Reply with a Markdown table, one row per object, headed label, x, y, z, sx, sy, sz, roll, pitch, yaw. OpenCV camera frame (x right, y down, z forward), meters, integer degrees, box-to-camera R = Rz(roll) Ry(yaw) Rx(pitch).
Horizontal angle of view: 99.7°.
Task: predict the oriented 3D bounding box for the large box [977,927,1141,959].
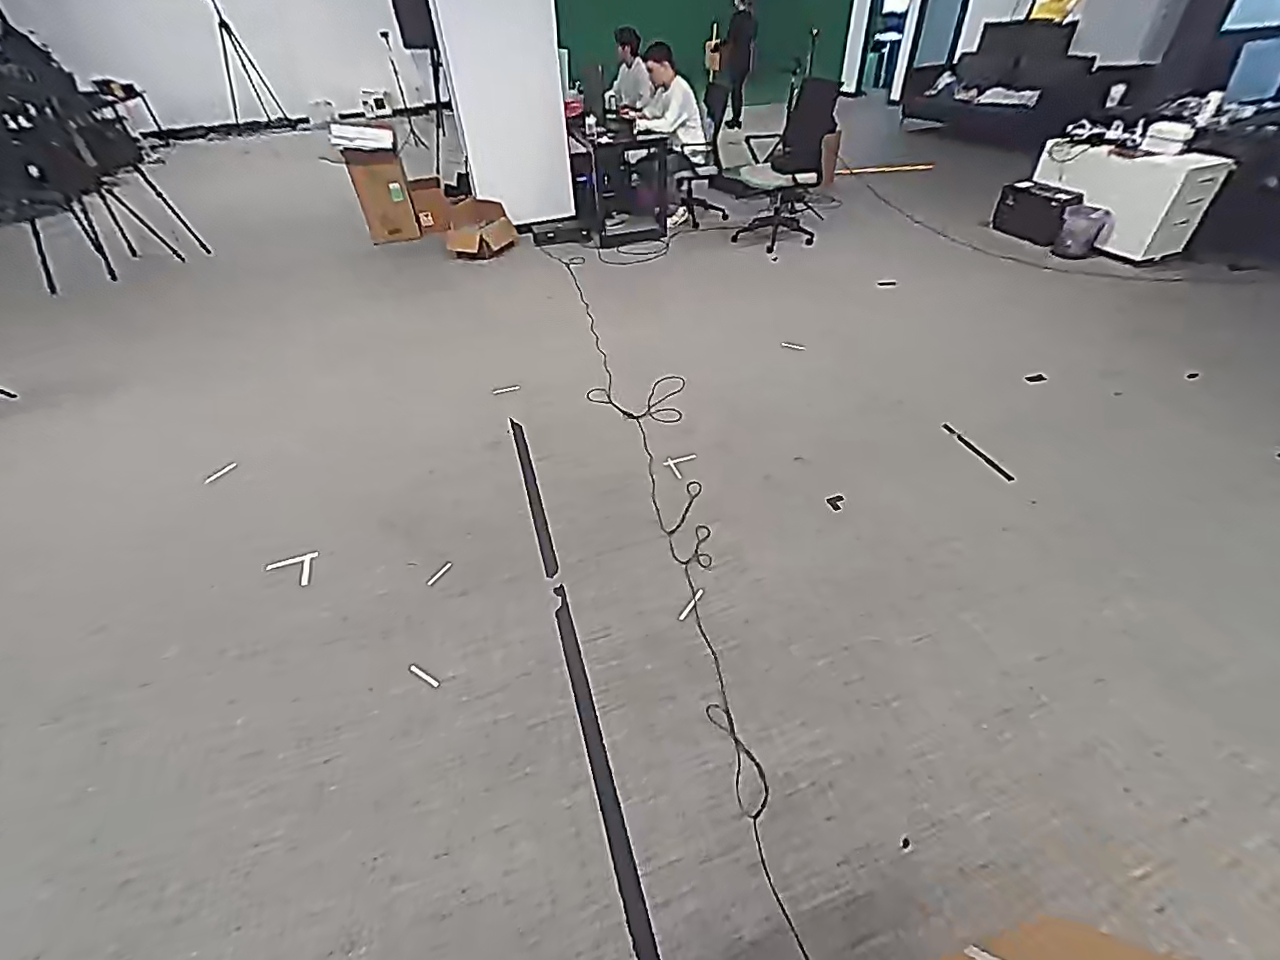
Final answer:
| label | x | y | z | sx | sy | sz | roll | pitch | yaw |
| --- | --- | --- | --- | --- | --- | --- | --- | --- | --- |
| large box | 0.555 | 0.759 | 0.557 | 0.320 | 0.408 | 0.320 | -12 | 68 | -13 |
